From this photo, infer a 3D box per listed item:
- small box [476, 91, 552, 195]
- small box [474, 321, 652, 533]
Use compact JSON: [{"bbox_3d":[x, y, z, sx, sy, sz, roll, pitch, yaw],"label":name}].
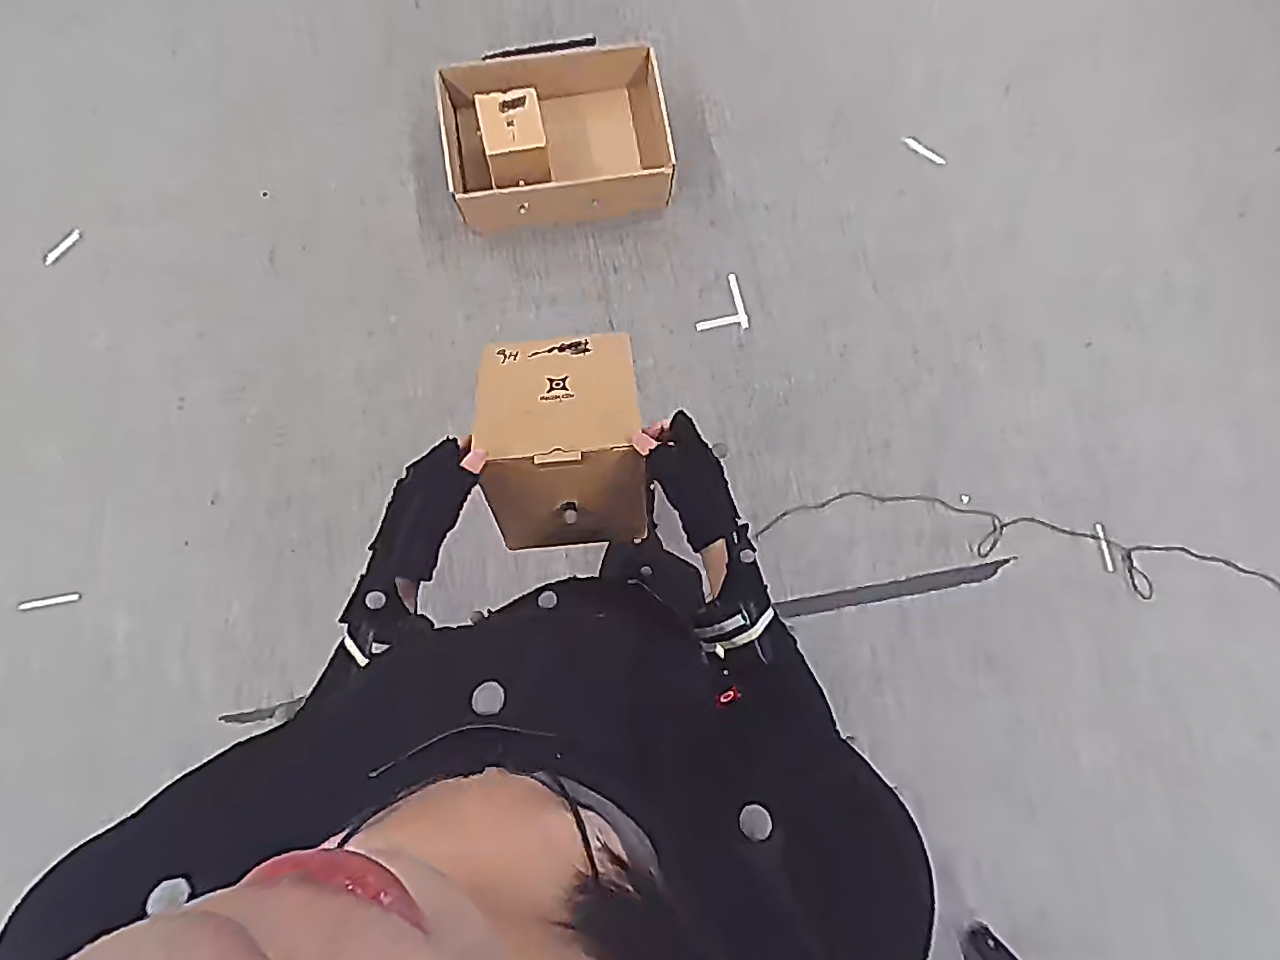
[{"bbox_3d":[-0.349,-0.941,1.518,0.168,0.176,0.179,-12,83,-5],"label":"small box"},{"bbox_3d":[-0.077,-0.051,0.613,0.168,0.176,0.179,-6,55,-2],"label":"small box"}]
